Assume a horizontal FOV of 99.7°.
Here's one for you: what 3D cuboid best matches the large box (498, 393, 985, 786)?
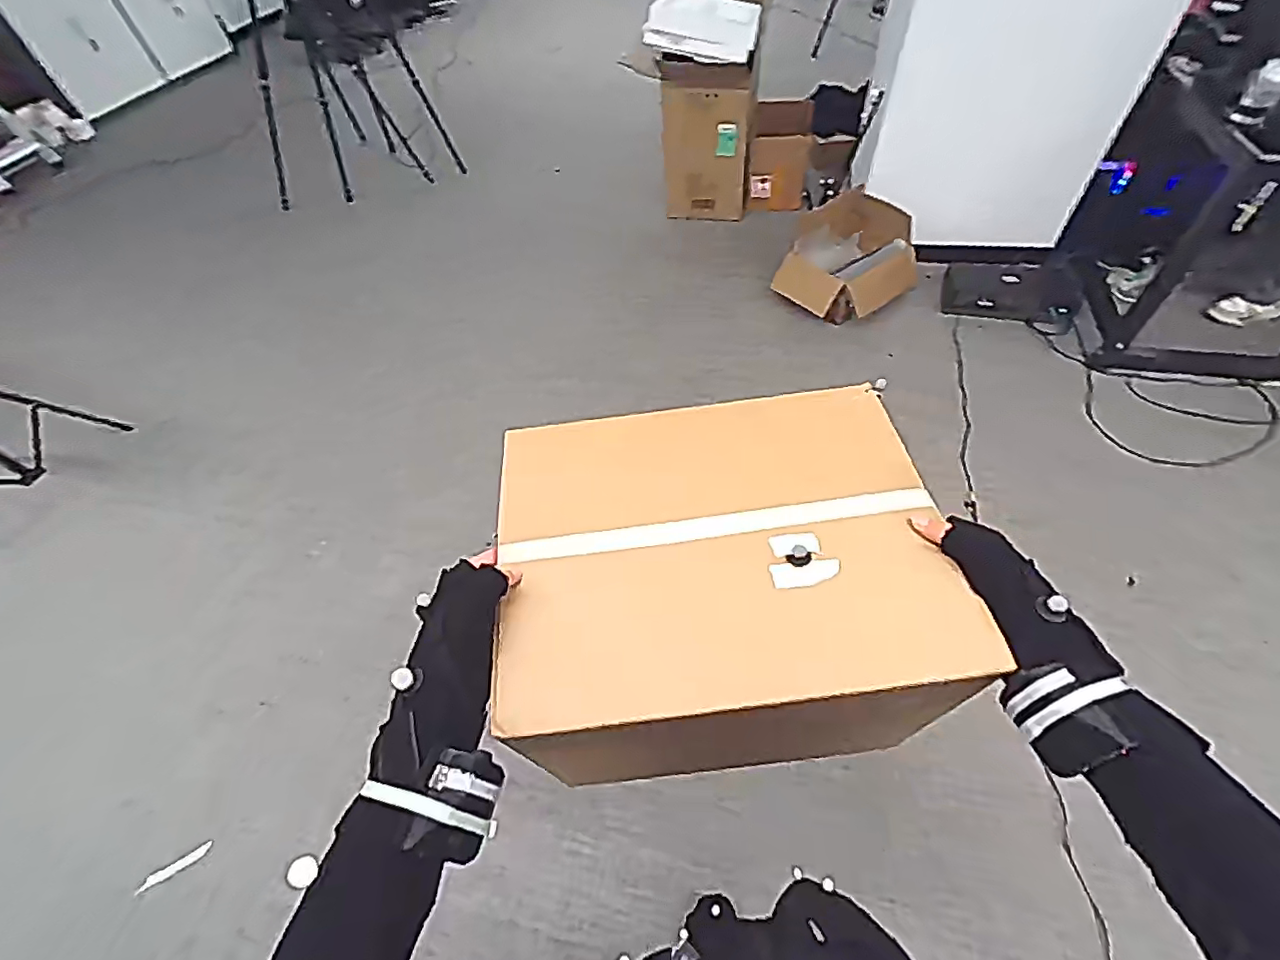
[{"bbox_3d":[0.075,0.139,0.635,0.408,0.320,0.320,-8,54,0],"label":"large box"}]
